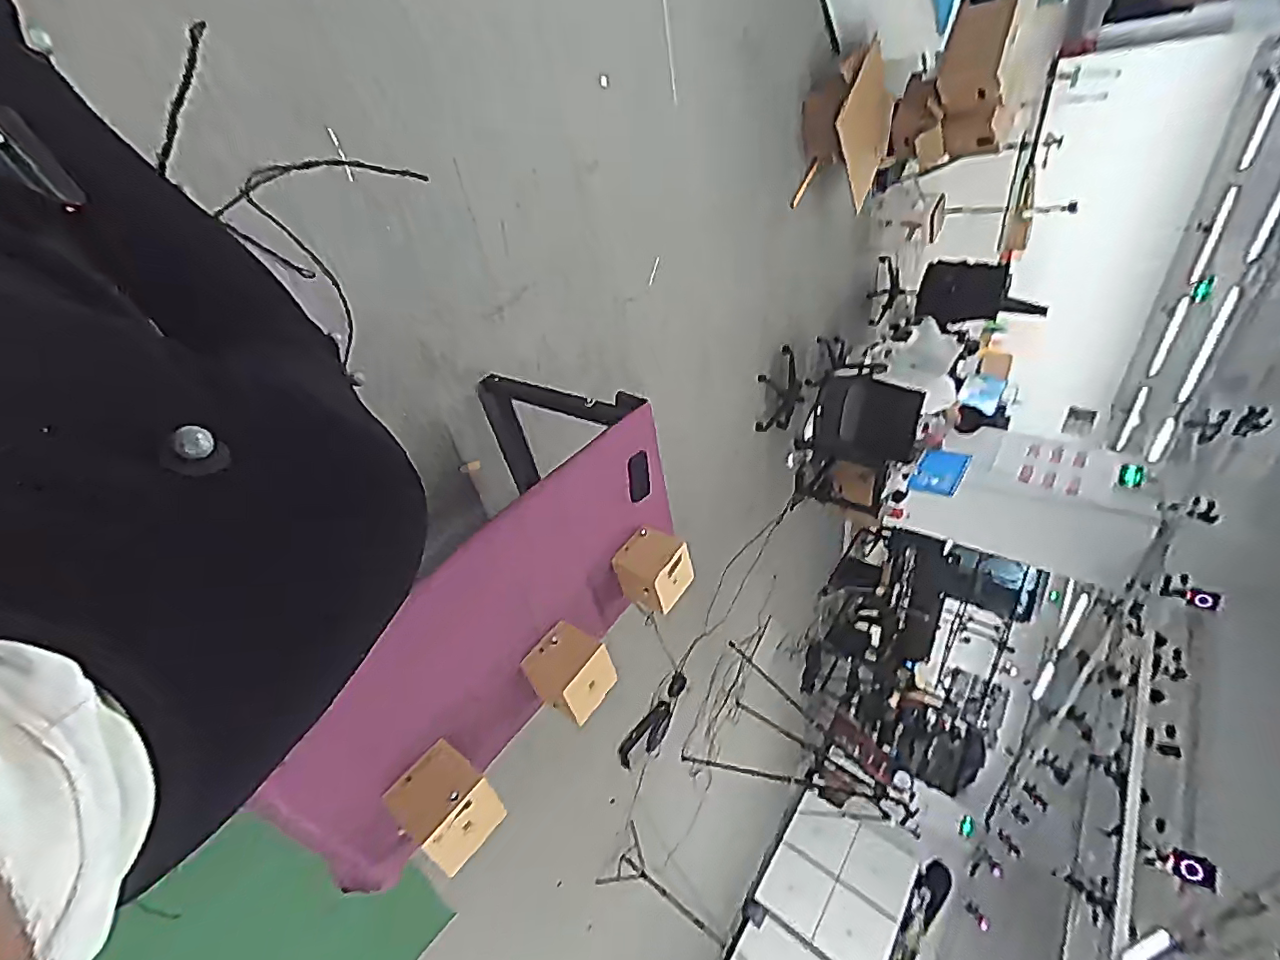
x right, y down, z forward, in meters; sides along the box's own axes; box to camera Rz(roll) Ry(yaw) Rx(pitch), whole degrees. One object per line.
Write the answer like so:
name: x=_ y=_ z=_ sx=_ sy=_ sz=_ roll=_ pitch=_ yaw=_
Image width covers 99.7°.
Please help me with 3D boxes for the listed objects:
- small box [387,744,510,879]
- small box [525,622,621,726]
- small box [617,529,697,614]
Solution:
small box: x=-0.429 y=0.737 z=1.218 sx=0.168 sy=0.176 sz=0.179 roll=-42 pitch=136 yaw=-36
small box: x=-0.179 y=0.516 z=1.459 sx=0.168 sy=0.176 sz=0.179 roll=-45 pitch=137 yaw=-34
small box: x=0.050 y=0.270 z=1.654 sx=0.168 sy=0.176 sz=0.179 roll=-46 pitch=139 yaw=-30
